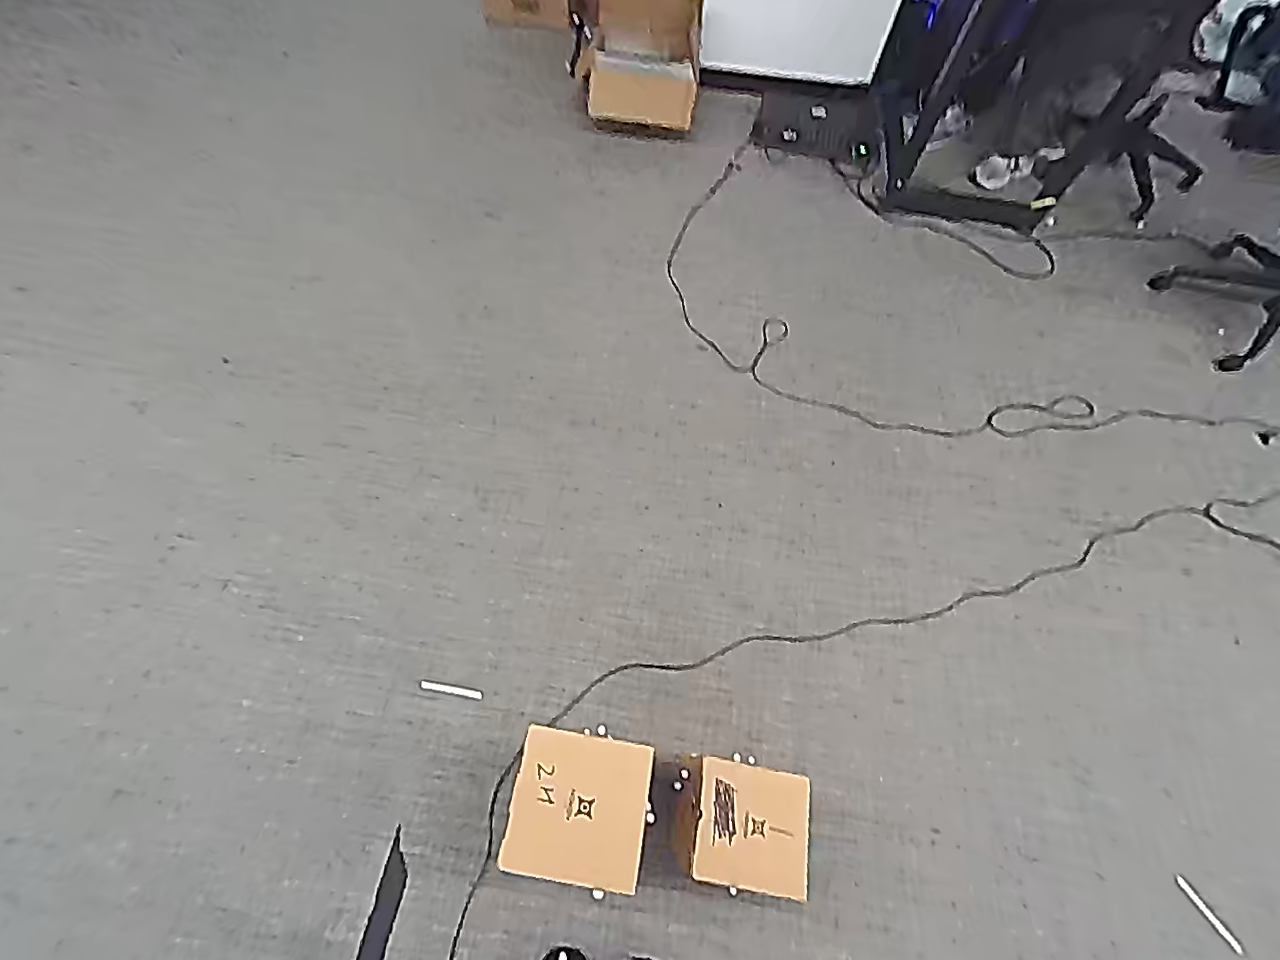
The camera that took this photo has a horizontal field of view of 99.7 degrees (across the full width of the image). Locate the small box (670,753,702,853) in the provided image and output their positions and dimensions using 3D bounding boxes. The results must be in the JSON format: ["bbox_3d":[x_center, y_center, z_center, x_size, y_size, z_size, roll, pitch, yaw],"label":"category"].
[{"bbox_3d":[0.160,0.644,1.053,0.179,0.176,0.168,12,63,2],"label":"small box"}]

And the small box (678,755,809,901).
[{"bbox_3d":[0.167,0.571,0.906,0.179,0.176,0.168,12,63,1],"label":"small box"}]

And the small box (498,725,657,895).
[{"bbox_3d":[-0.078,0.455,0.767,0.179,0.176,0.168,9,62,4],"label":"small box"}]
